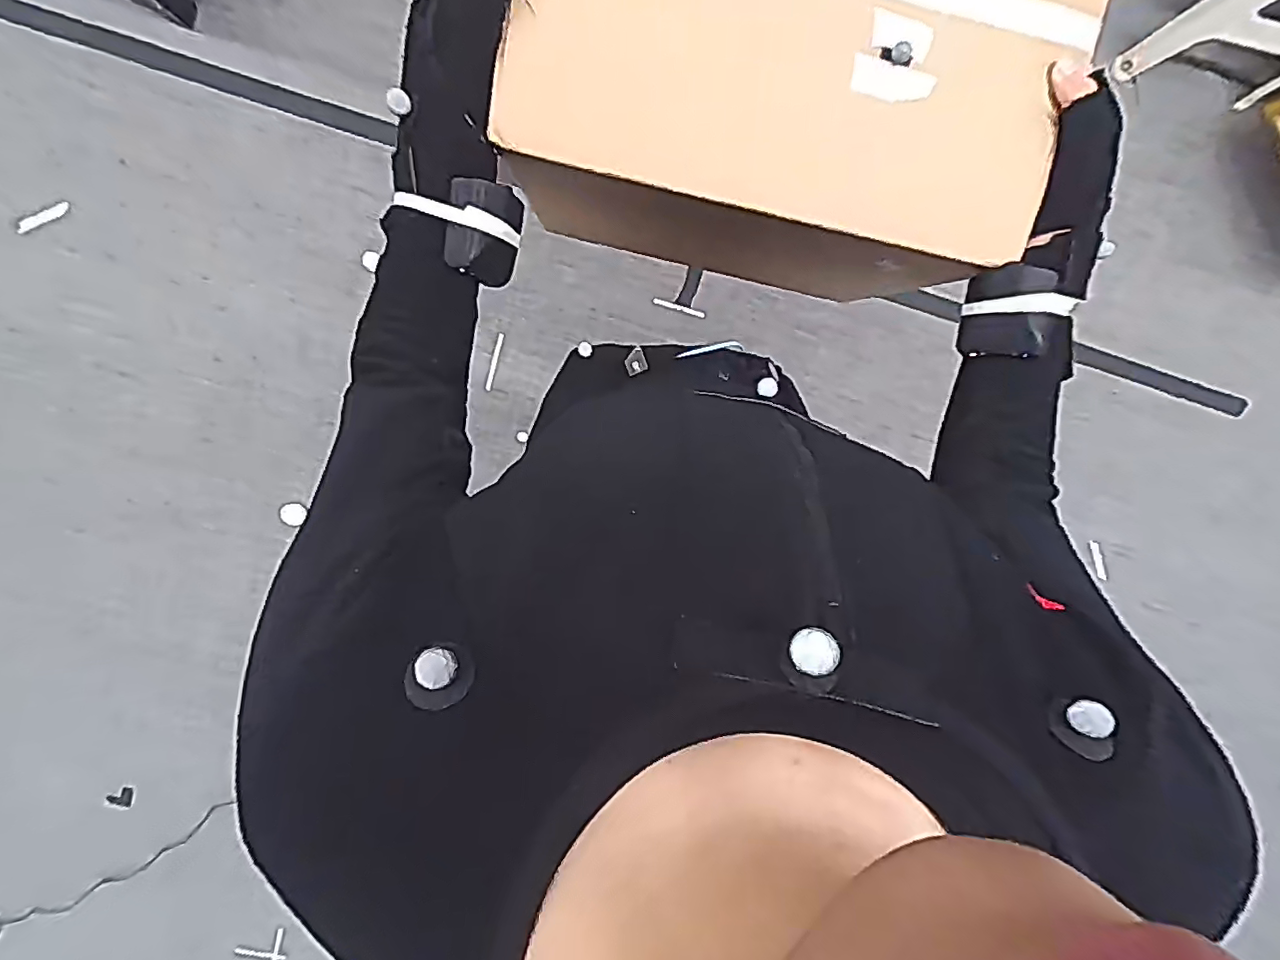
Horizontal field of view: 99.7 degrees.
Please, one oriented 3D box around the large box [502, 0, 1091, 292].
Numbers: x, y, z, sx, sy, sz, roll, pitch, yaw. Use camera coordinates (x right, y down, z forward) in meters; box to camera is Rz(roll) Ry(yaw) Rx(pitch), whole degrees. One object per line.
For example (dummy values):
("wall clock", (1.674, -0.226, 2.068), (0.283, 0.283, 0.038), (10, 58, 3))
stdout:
("large box", (0.112, -0.389, 0.517), (0.408, 0.320, 0.320), (11, 104, -6))
